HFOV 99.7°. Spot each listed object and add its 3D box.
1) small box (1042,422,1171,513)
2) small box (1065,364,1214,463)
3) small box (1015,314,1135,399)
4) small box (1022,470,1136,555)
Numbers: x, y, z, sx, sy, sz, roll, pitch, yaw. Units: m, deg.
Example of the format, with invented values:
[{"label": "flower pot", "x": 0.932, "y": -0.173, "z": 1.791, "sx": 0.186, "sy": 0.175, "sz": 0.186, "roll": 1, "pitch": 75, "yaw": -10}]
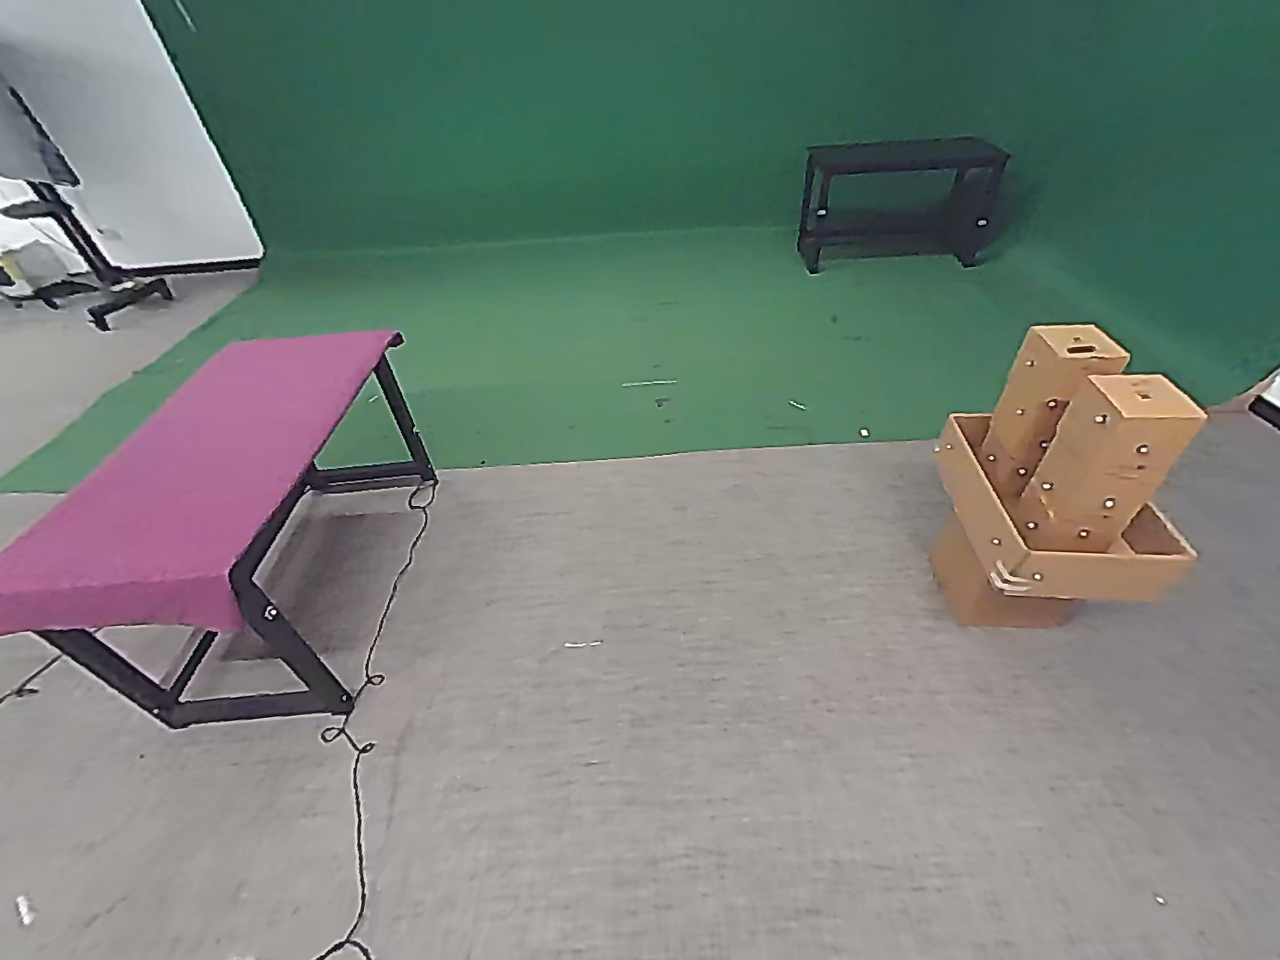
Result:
[{"label": "small box", "x": 1.170, "y": -0.031, "z": 1.374, "sx": 0.168, "sy": 0.176, "sz": 0.179, "roll": 3, "pitch": 44, "yaw": 11}, {"label": "small box", "x": 1.149, "y": -0.152, "z": 1.263, "sx": 0.168, "sy": 0.176, "sz": 0.179, "roll": 1, "pitch": 43, "yaw": 9}, {"label": "small box", "x": 1.159, "y": -0.328, "z": 1.456, "sx": 0.168, "sy": 0.176, "sz": 0.179, "roll": 0, "pitch": 42, "yaw": 7}, {"label": "small box", "x": 1.185, "y": 0.089, "z": 1.483, "sx": 0.179, "sy": 0.176, "sz": 0.168, "roll": 3, "pitch": 44, "yaw": 11}]
